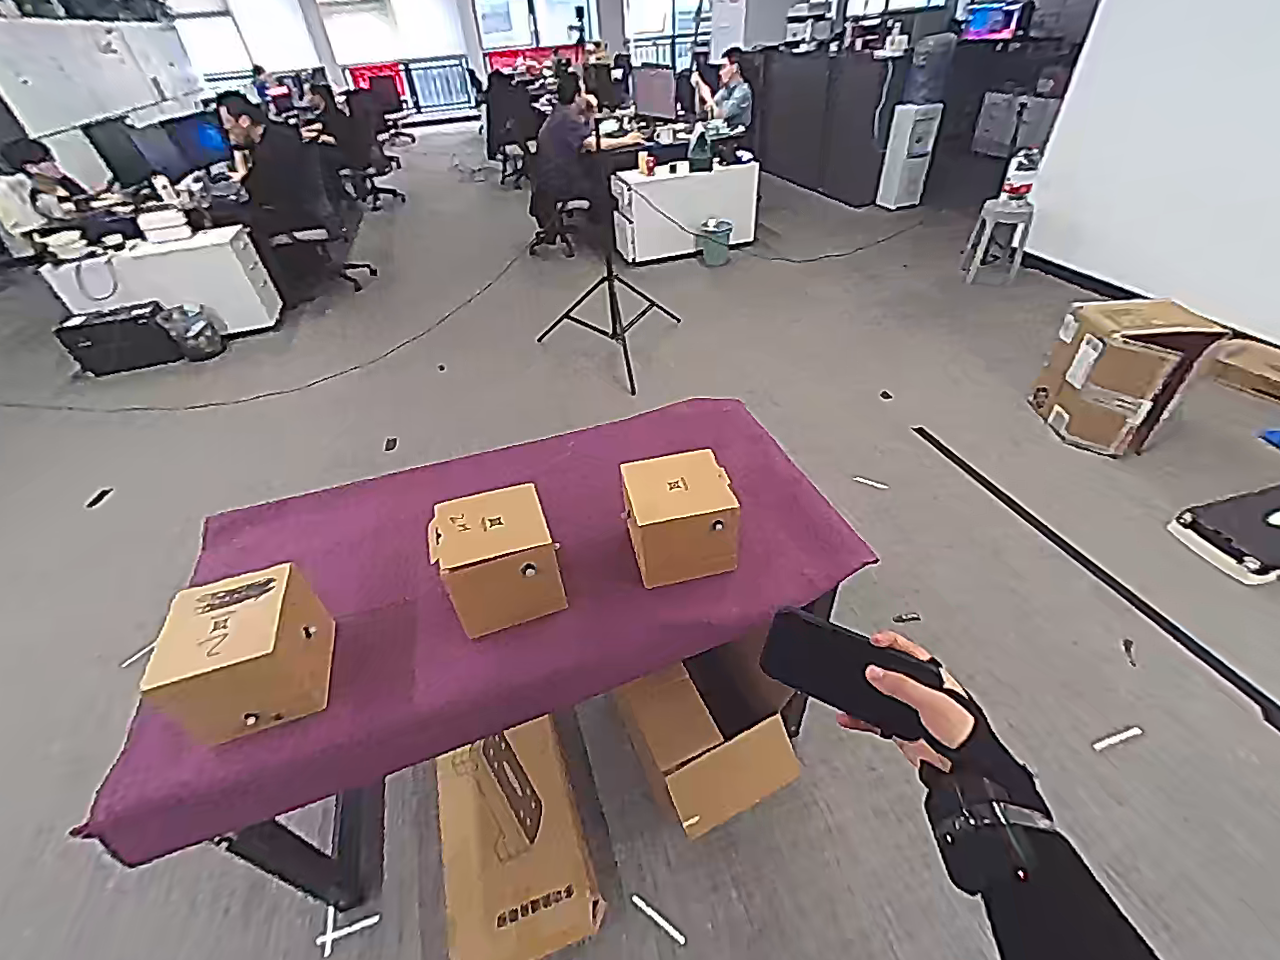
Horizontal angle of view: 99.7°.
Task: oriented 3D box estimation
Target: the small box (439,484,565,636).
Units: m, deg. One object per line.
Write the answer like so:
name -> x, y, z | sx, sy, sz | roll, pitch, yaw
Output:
small box -> -0.234, 0.137, 0.939 | 0.179, 0.176, 0.168 | -16, 39, -12

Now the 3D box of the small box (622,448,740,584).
small box -> 0.073, 0.069, 0.990 | 0.179, 0.176, 0.168 | -11, 41, -7
